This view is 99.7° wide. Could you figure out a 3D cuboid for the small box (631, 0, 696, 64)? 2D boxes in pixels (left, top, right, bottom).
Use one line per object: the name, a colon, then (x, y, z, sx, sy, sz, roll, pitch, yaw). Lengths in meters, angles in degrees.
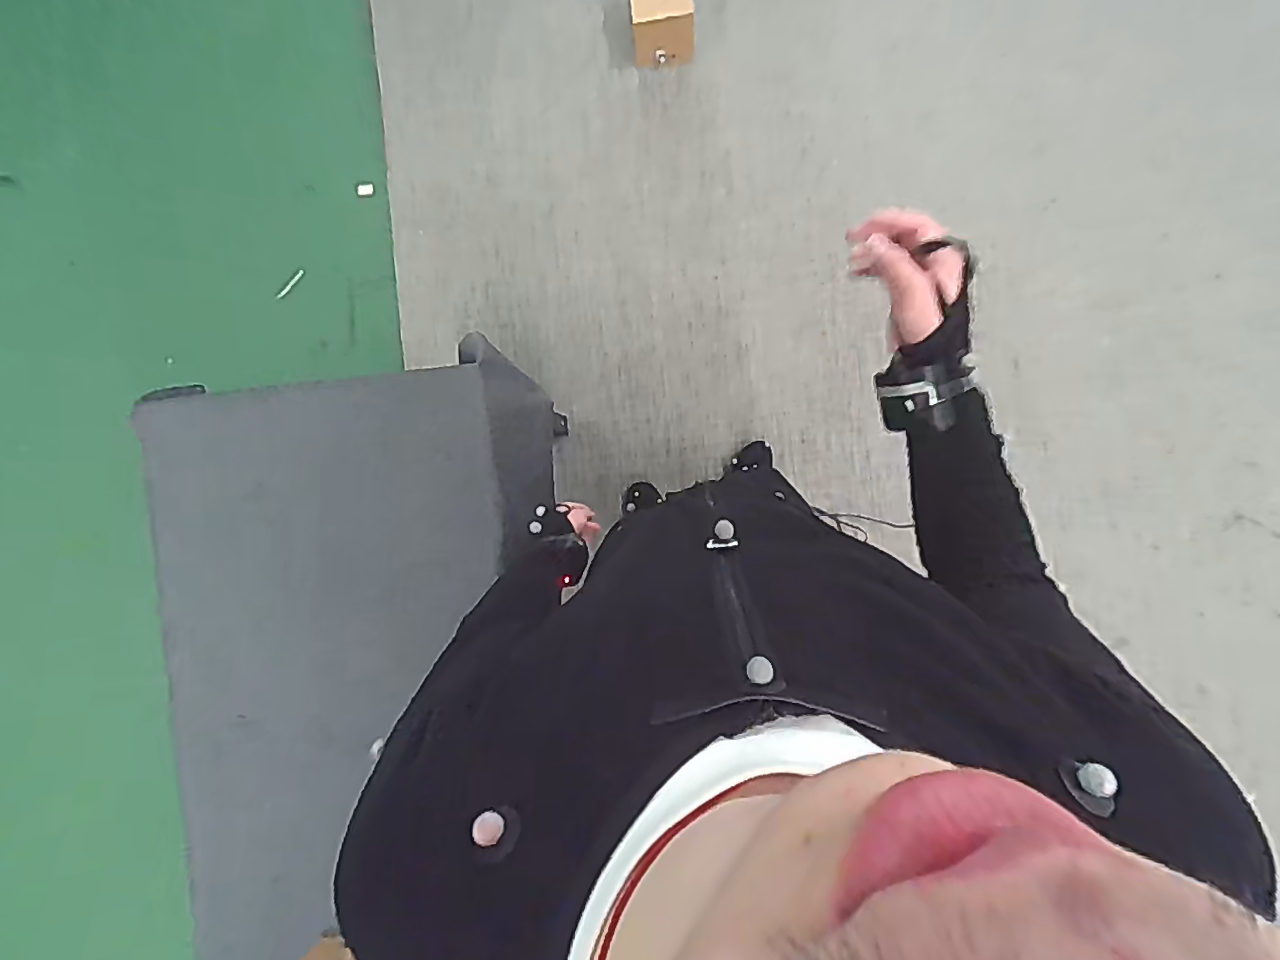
small box: (0.065, -1.285, 1.466, 0.168, 0.176, 0.179, -3, 91, 7)
